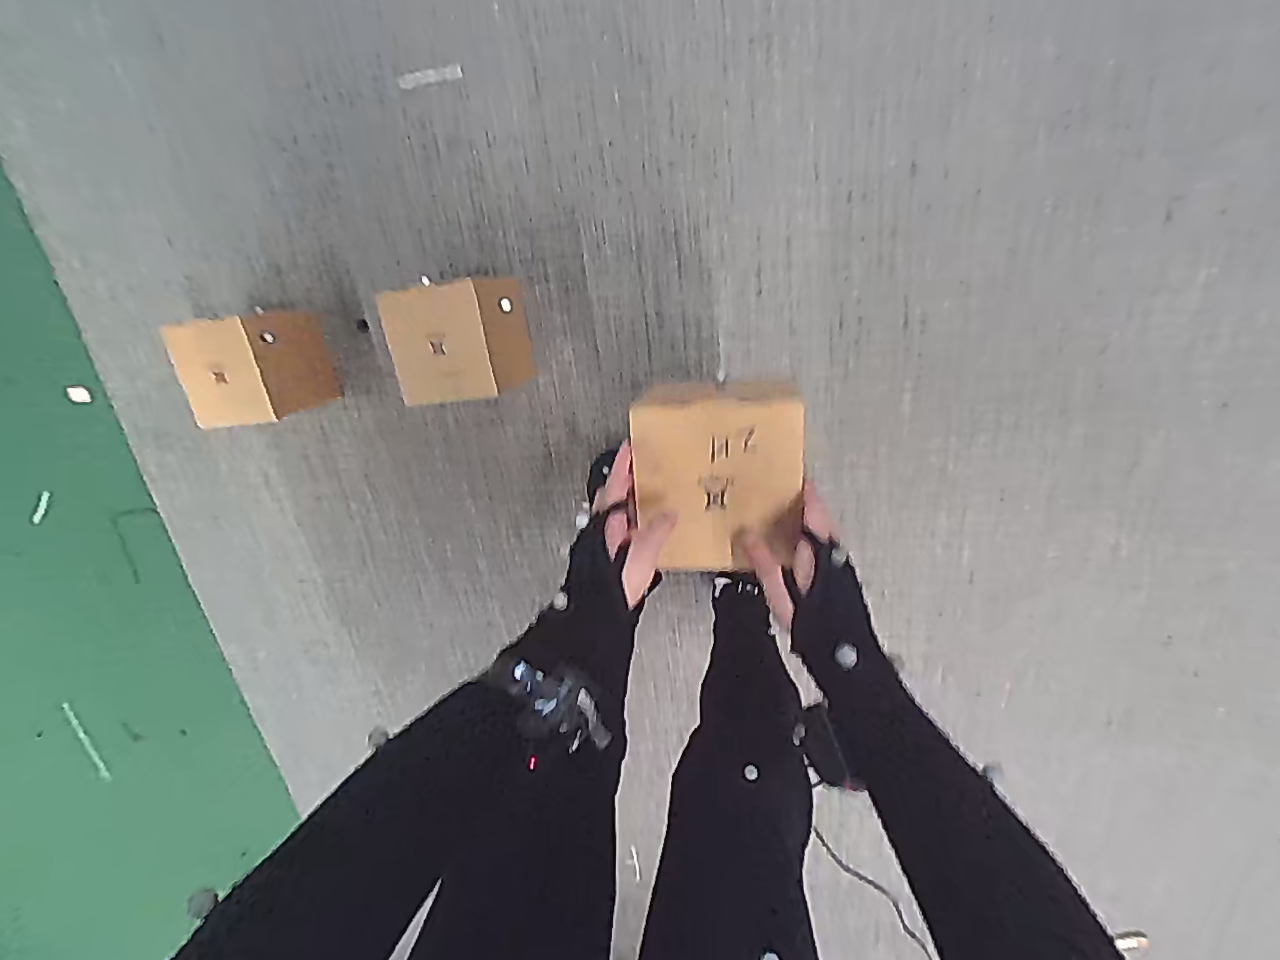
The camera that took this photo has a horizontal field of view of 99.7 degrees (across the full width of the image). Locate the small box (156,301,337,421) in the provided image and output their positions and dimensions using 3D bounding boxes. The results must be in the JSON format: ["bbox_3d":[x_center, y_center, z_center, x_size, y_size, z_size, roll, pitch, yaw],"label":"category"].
[{"bbox_3d":[-0.680,-0.215,0.959,0.168,0.176,0.179,-4,109,12],"label":"small box"}]

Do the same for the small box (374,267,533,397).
[{"bbox_3d":[-0.289,-0.242,0.879,0.168,0.176,0.179,-4,110,12],"label":"small box"}]

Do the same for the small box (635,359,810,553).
[{"bbox_3d":[0.094,-0.034,0.604,0.168,0.176,0.179,-1,108,11],"label":"small box"}]
